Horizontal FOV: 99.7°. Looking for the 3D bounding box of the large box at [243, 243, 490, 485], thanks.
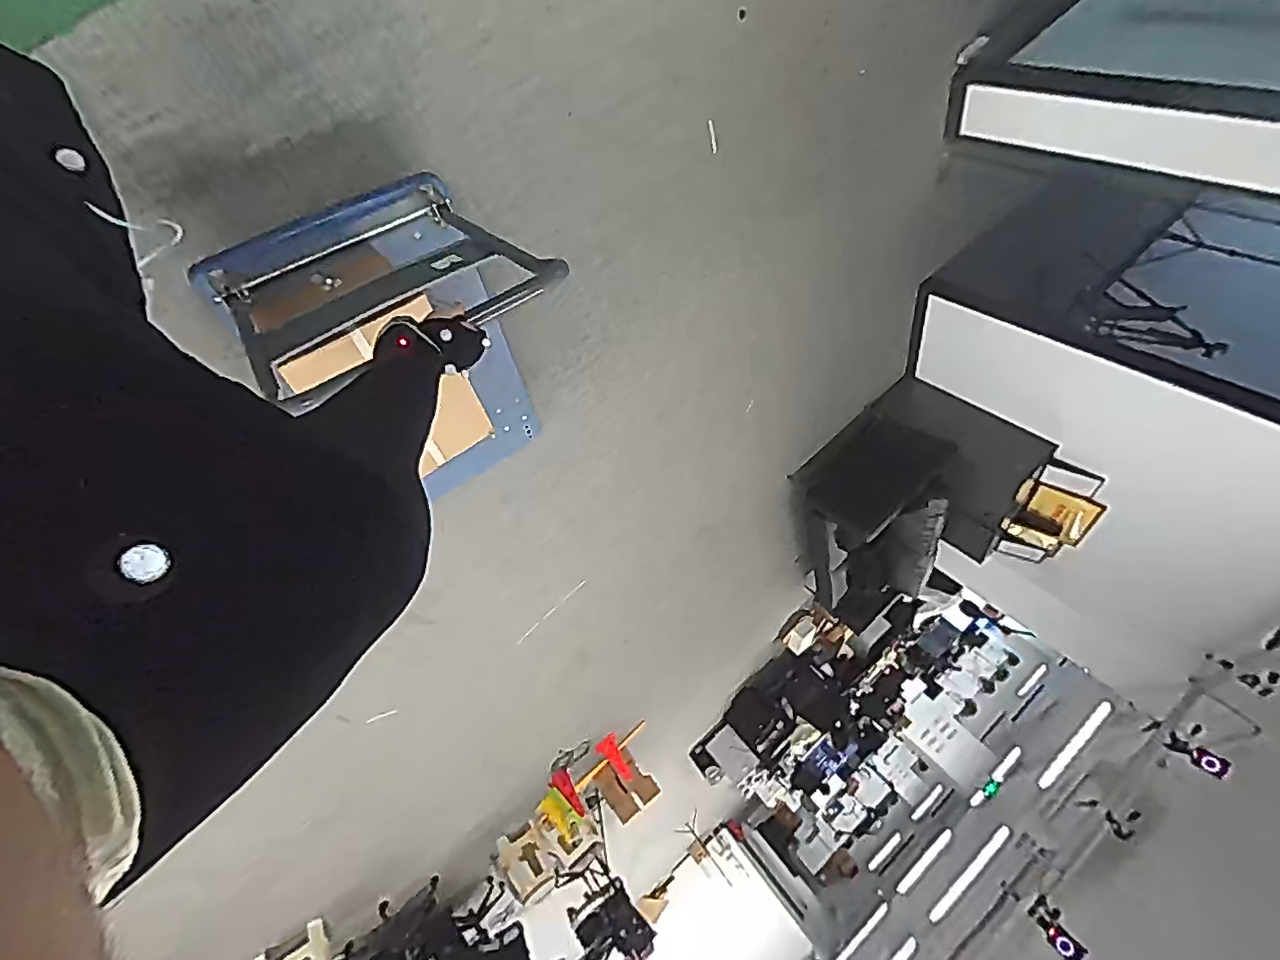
[{"bbox_3d":[-0.629,-0.272,1.288,0.320,0.320,0.408,-36,144,-17],"label":"large box"}]
